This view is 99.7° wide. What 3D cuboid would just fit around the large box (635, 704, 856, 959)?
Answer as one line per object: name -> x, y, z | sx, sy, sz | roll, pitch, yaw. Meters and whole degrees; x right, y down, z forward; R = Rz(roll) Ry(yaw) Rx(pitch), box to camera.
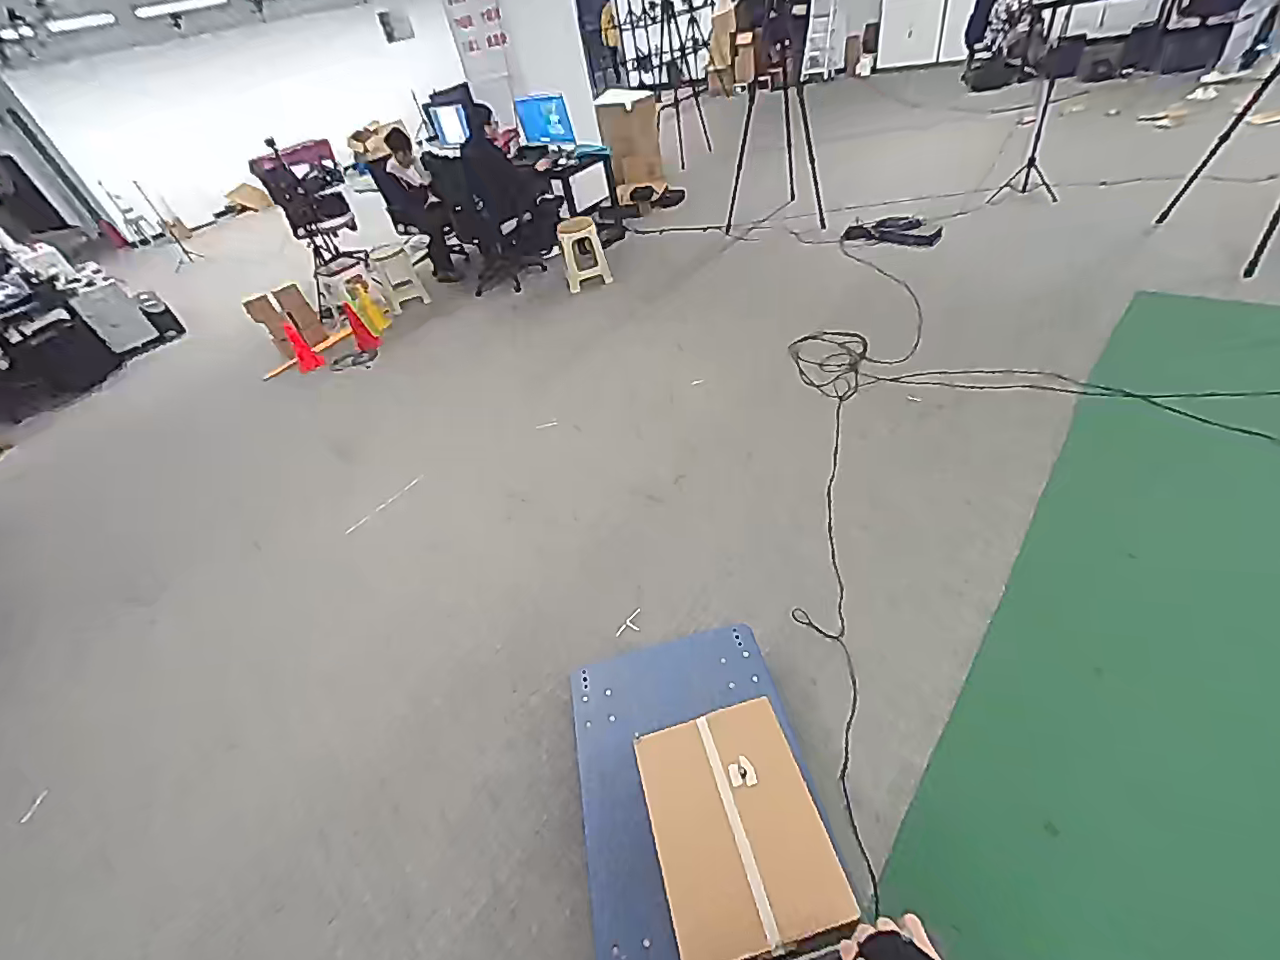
large box -> 0.208, 0.775, 1.152 | 0.320, 0.320, 0.408 | -16, 40, -3
